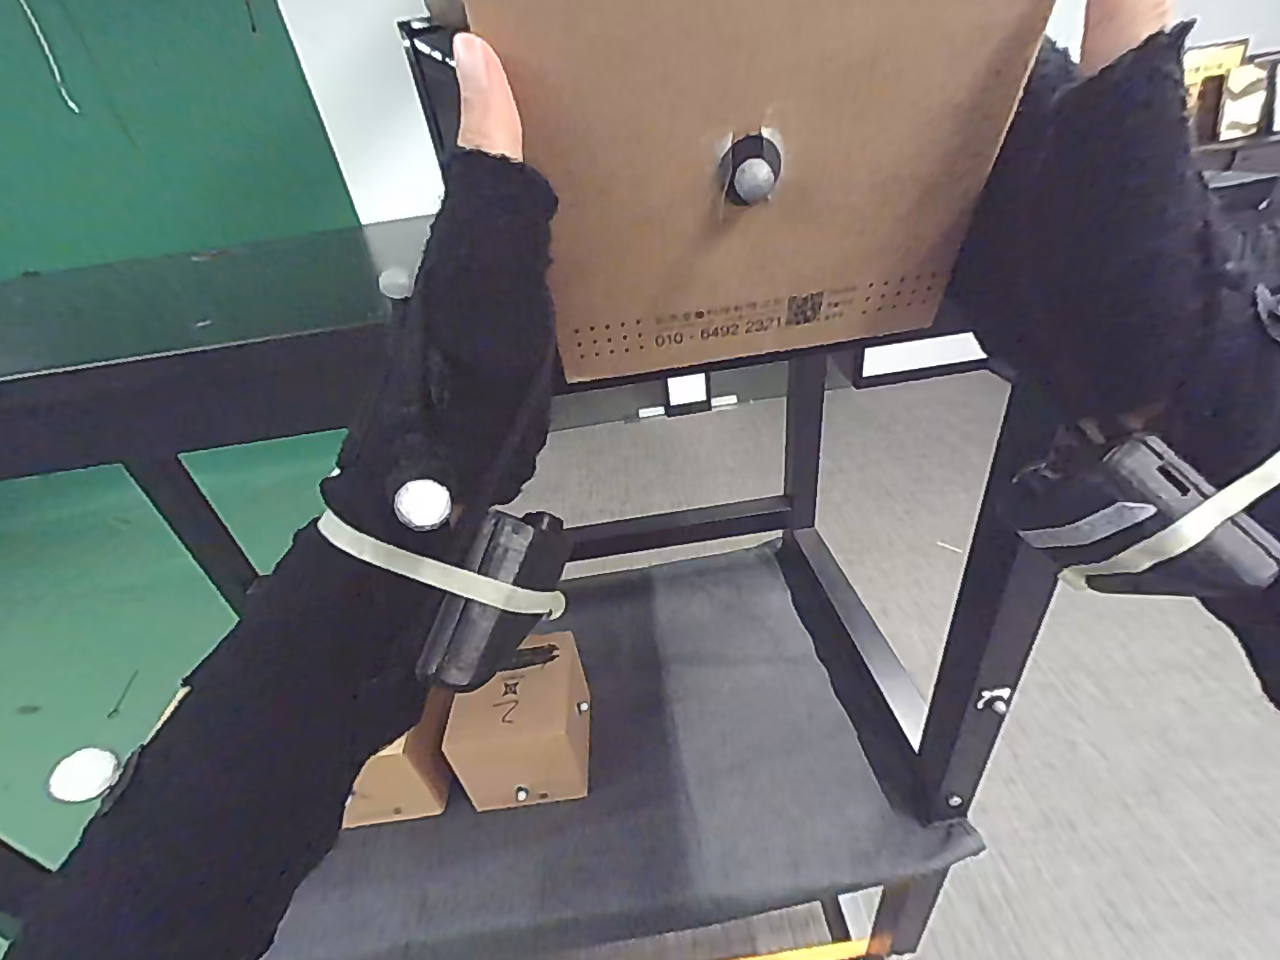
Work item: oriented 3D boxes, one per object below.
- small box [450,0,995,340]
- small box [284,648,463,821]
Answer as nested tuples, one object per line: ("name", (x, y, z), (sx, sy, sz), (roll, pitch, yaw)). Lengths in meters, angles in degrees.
("small box", (0.025, -0.176, 0.231), (0.168, 0.176, 0.179), (-8, 51, 0))
("small box", (-0.384, 0.389, 0.821), (0.168, 0.176, 0.179), (-8, 32, 0))
